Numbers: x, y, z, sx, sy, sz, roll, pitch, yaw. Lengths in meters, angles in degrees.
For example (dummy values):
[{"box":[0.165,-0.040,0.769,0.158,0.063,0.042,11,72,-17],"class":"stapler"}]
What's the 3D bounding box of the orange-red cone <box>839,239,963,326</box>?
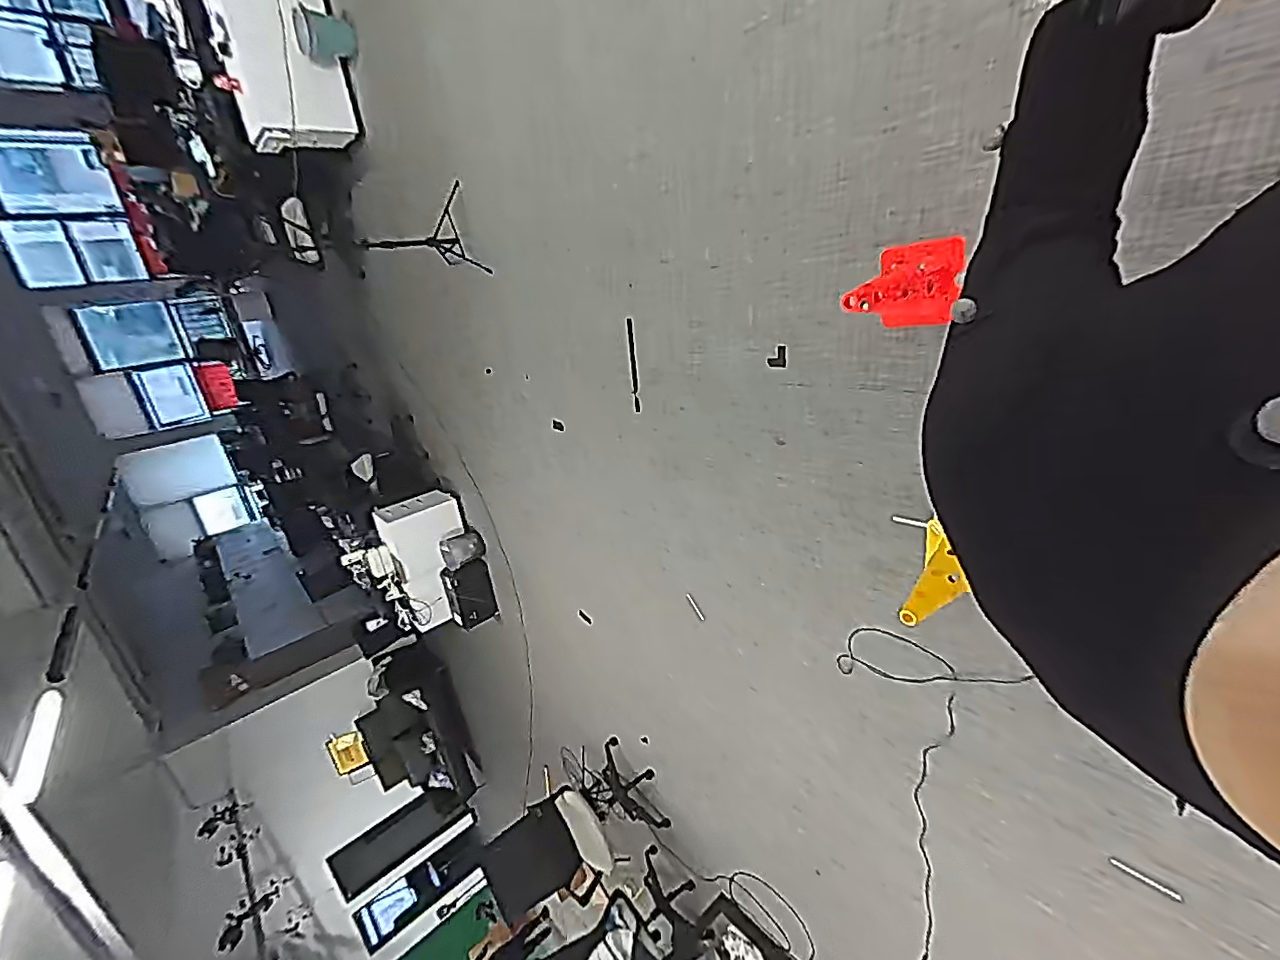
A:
[{"box":[0.578,-0.434,1.263,0.198,0.360,0.199,14,121,48],"class":"orange-red cone"}]
